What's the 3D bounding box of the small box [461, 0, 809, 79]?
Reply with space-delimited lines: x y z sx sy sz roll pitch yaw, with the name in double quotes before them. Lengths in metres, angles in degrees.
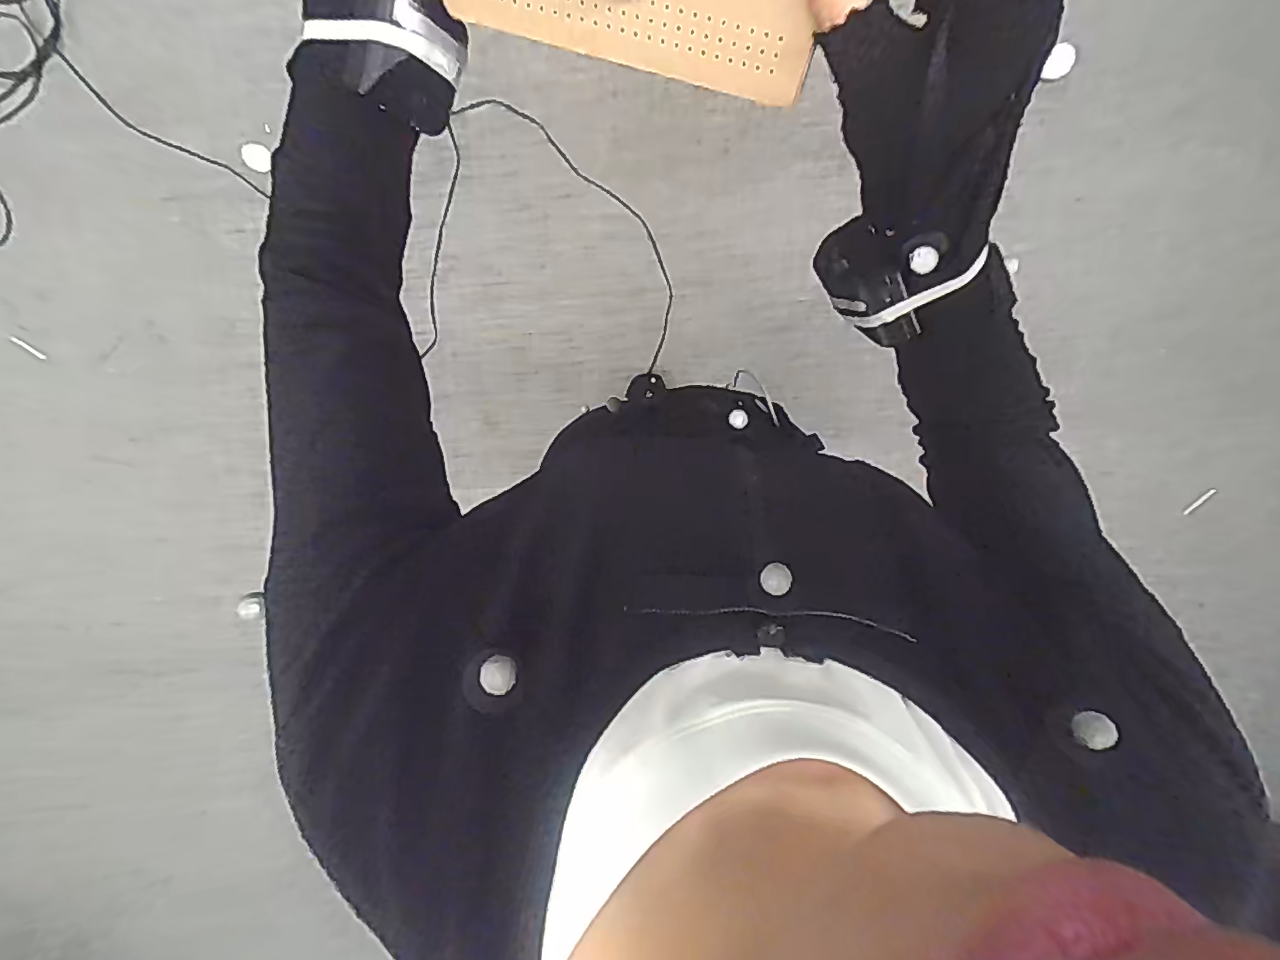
"small box" 0.016 -0.311 0.225 0.179 0.176 0.168 17 63 2
